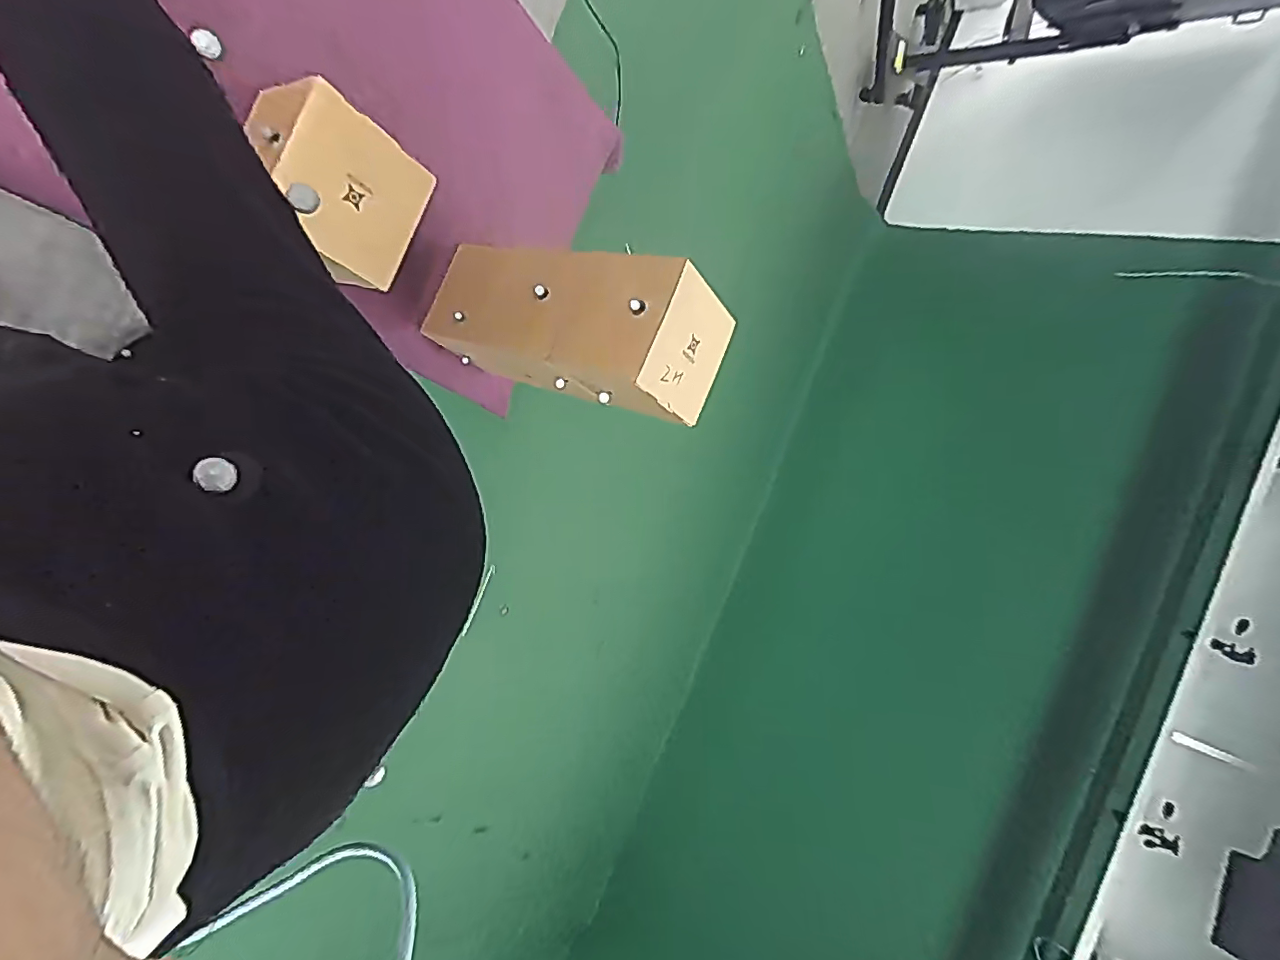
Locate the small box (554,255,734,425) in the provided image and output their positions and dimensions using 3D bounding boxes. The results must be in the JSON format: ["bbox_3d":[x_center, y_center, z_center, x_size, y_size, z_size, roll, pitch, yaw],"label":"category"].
[{"bbox_3d":[0.005,-0.205,0.783,0.168,0.176,0.179,27,86,-54],"label":"small box"}]

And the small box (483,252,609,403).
[{"bbox_3d":[-0.123,-0.250,0.878,0.168,0.176,0.179,28,83,-54],"label":"small box"}]

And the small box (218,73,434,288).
[{"bbox_3d":[-0.413,-0.378,0.709,0.168,0.176,0.179,26,84,-55],"label":"small box"}]
